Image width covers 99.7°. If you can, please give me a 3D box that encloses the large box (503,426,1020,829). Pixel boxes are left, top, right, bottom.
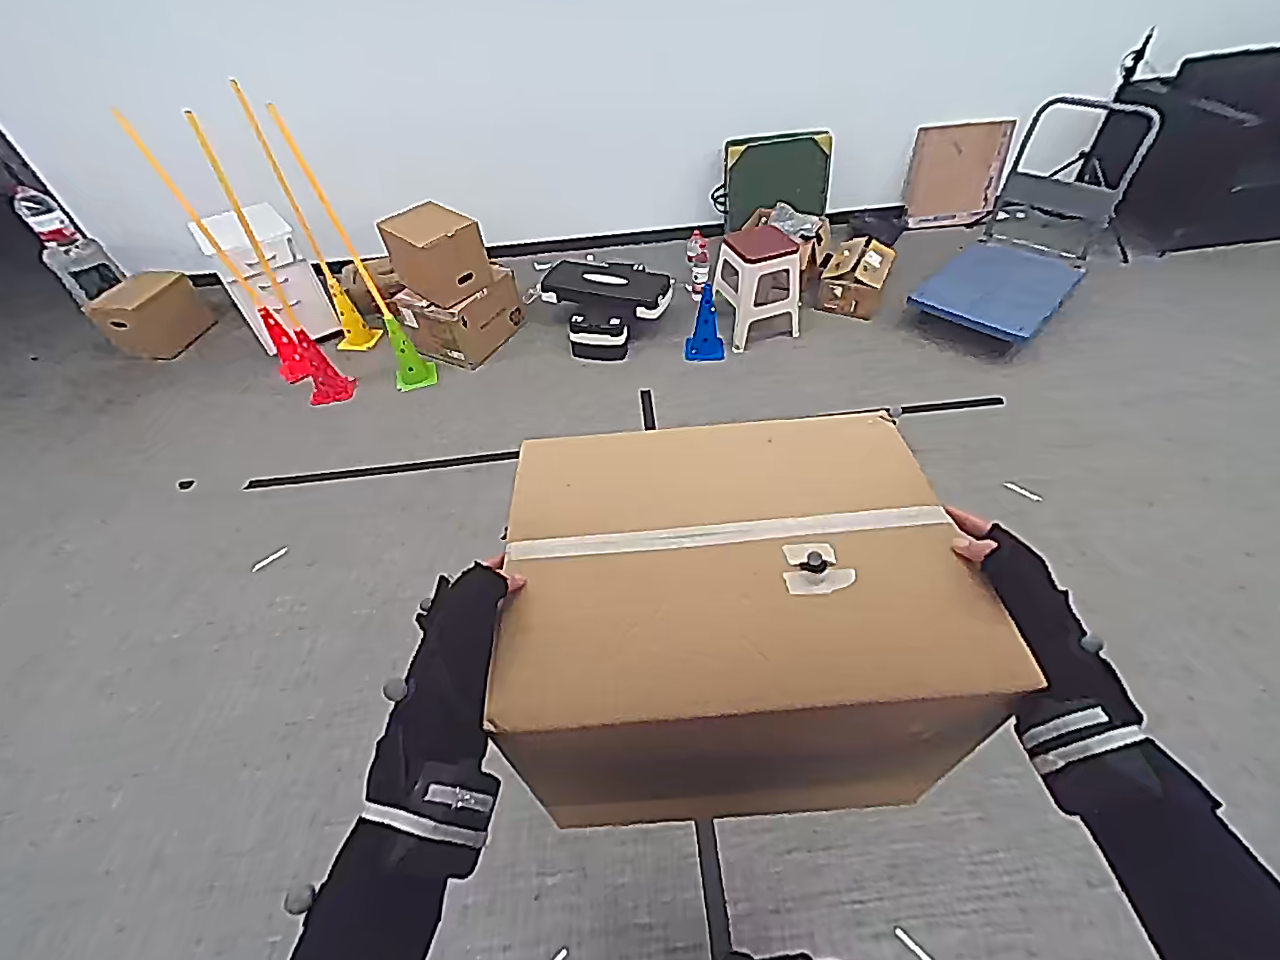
[{"bbox_3d":[0.090,0.168,0.614,0.408,0.320,0.320,-5,46,0],"label":"large box"}]
